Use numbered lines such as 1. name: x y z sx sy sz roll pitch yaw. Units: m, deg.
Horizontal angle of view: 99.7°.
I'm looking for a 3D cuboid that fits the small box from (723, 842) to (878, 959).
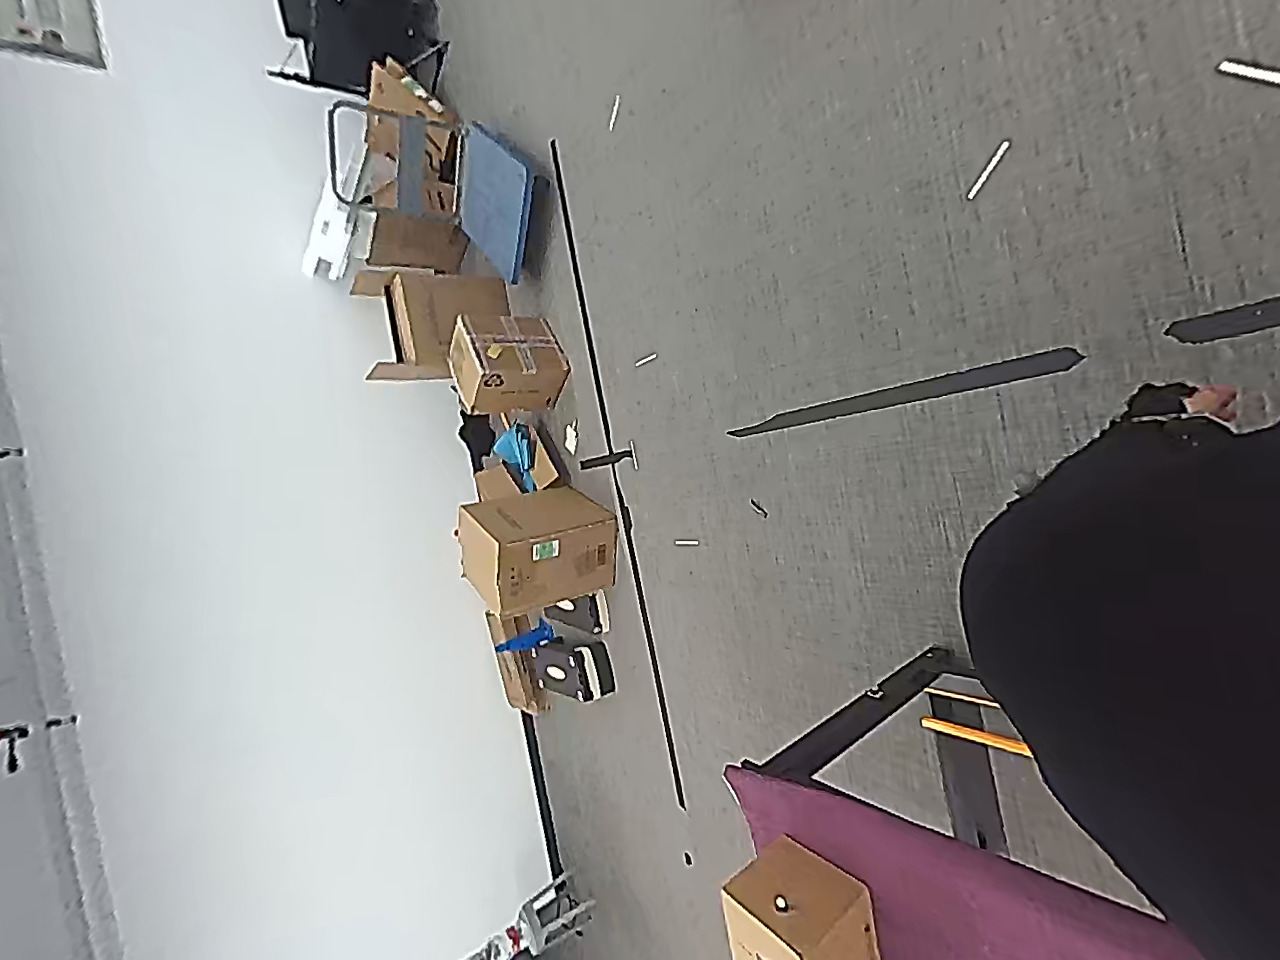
1. small box: 0.267 0.745 0.885 0.179 0.176 0.168 -5 96 56
